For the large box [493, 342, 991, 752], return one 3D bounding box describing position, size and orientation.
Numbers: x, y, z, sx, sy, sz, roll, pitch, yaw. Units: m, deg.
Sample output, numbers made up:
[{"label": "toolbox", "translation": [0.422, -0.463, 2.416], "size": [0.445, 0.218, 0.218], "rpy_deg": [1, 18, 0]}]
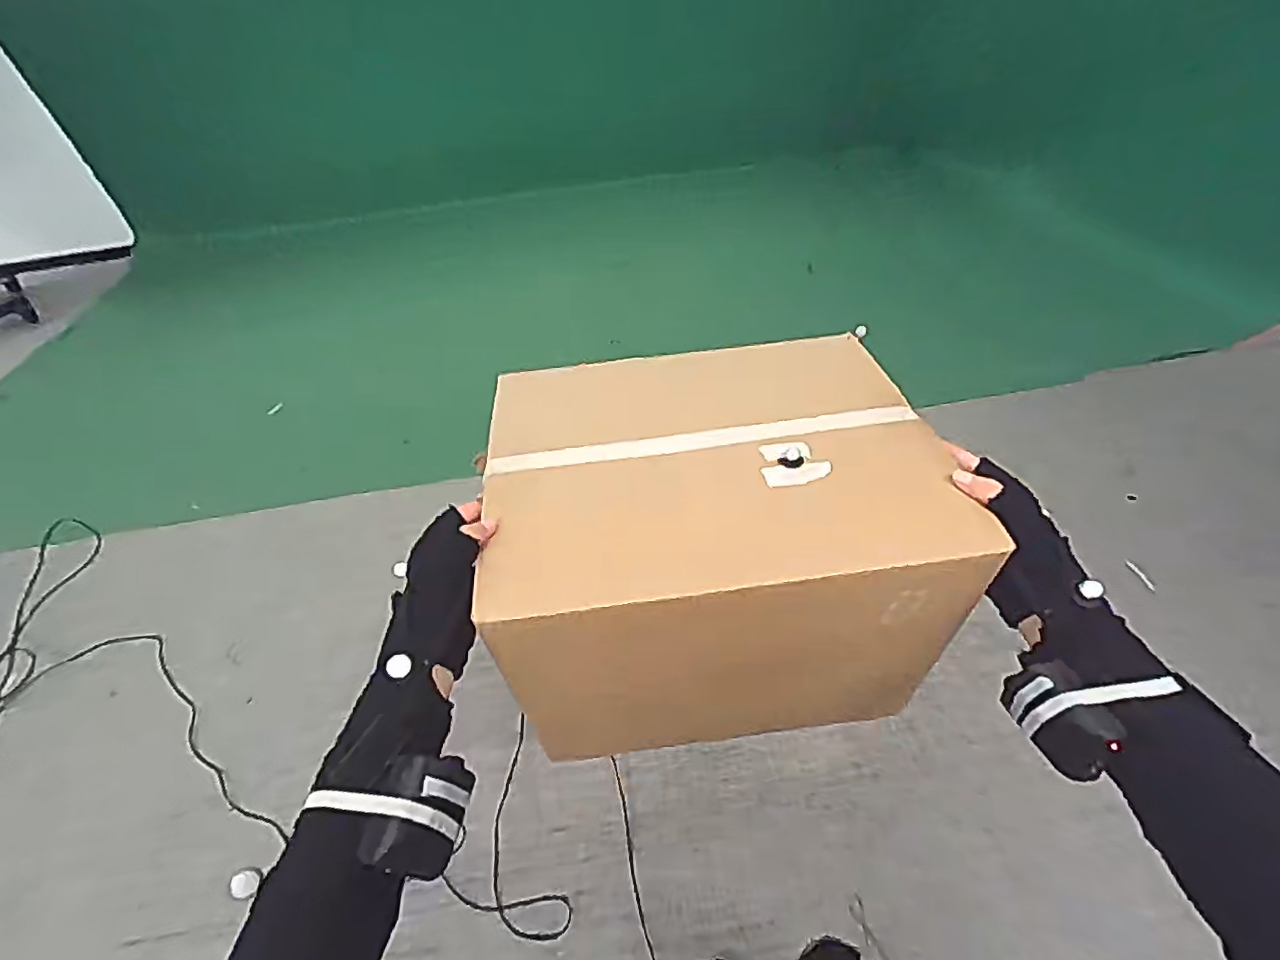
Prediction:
[{"label": "large box", "translation": [0.071, 0.074, 0.622], "size": [0.408, 0.320, 0.320], "rpy_deg": [-7, 46, -3]}]
